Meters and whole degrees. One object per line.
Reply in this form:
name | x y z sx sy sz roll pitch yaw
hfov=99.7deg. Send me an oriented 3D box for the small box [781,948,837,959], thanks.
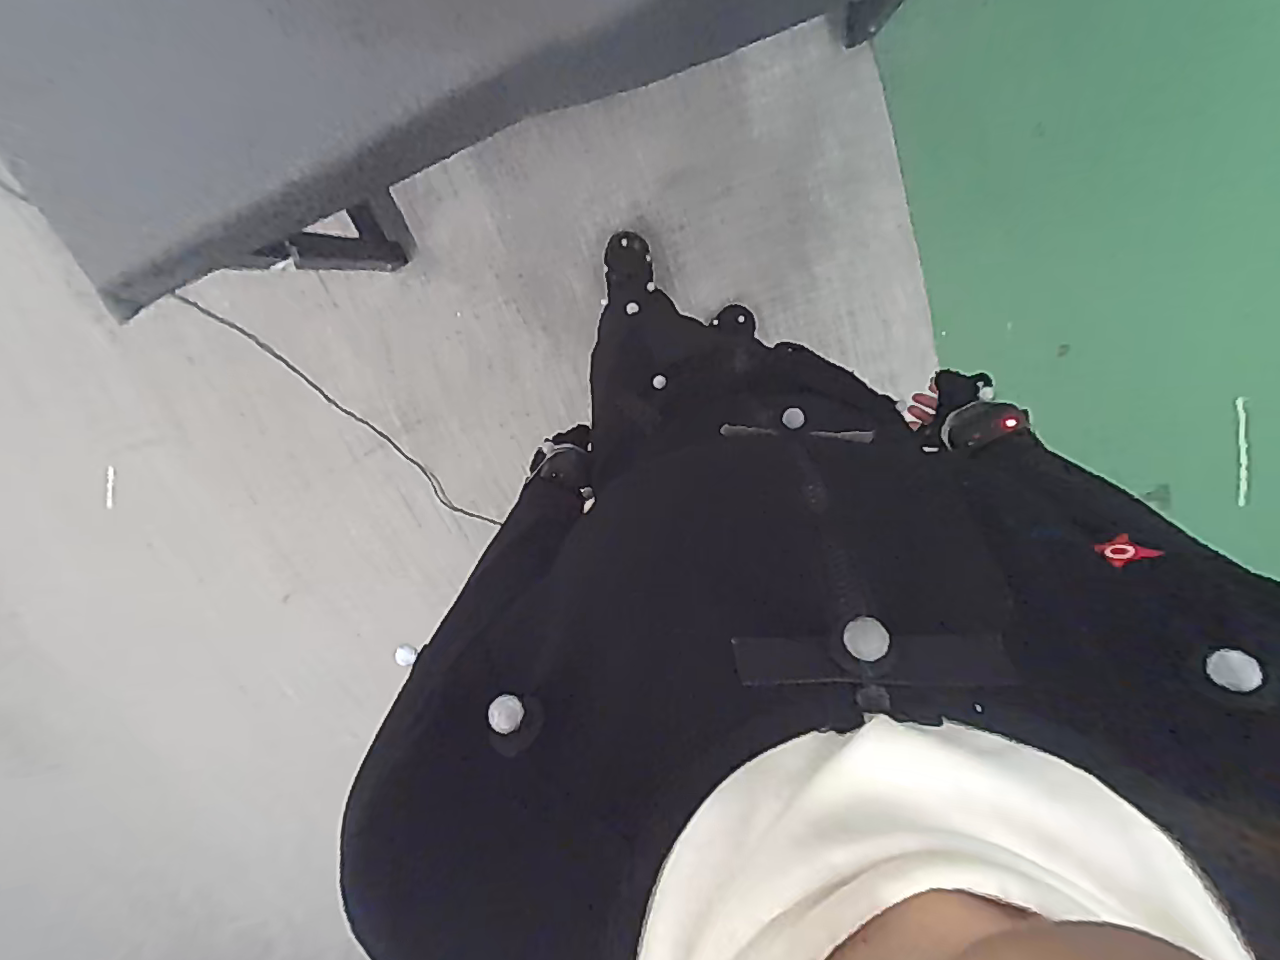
small box | 0.541 1.567 1.636 0.179 0.176 0.168 -23 106 11
